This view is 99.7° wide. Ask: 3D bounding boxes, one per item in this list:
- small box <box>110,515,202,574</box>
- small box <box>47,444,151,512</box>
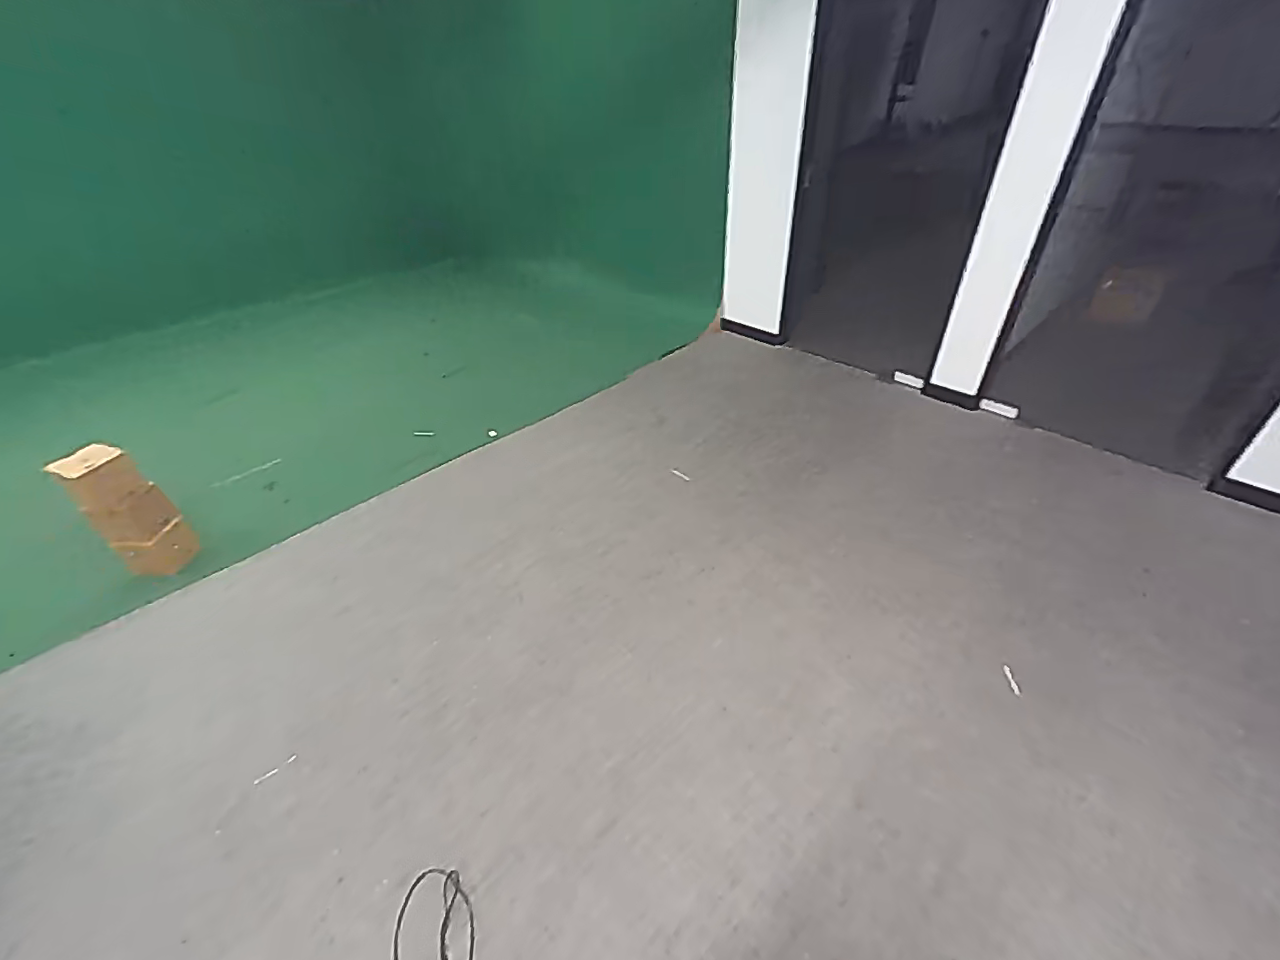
[{"bbox_3d":[-1.895,0.255,2.130,0.179,0.176,0.168,-1,39,4],"label":"small box"},{"bbox_3d":[-1.928,-0.006,1.934,0.179,0.176,0.168,12,41,19],"label":"small box"}]
